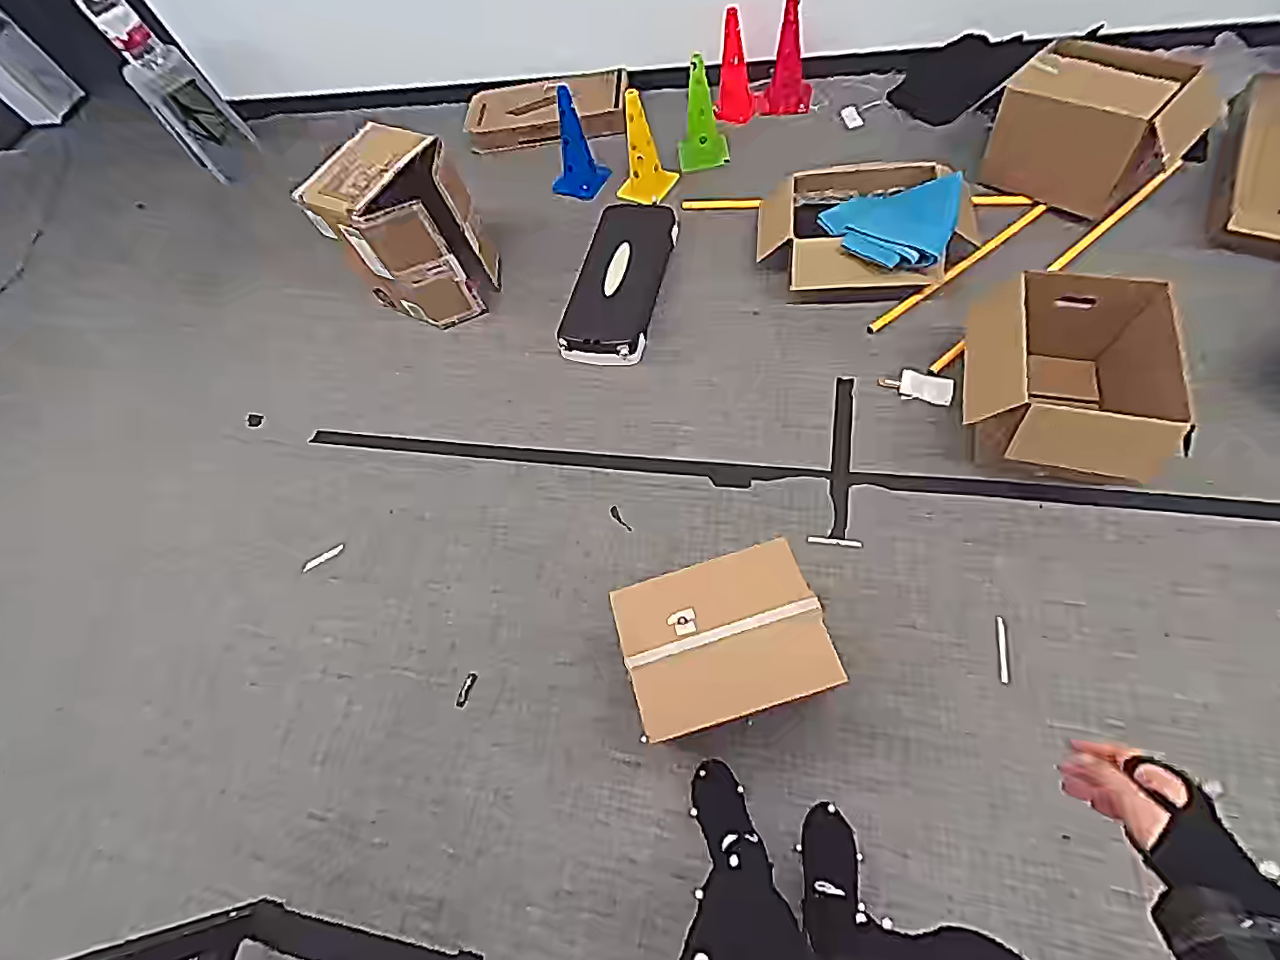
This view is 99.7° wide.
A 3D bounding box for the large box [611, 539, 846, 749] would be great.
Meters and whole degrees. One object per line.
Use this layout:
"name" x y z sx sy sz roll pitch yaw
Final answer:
"large box" 0.190 0.380 1.224 0.408 0.320 0.320 -19 62 2
